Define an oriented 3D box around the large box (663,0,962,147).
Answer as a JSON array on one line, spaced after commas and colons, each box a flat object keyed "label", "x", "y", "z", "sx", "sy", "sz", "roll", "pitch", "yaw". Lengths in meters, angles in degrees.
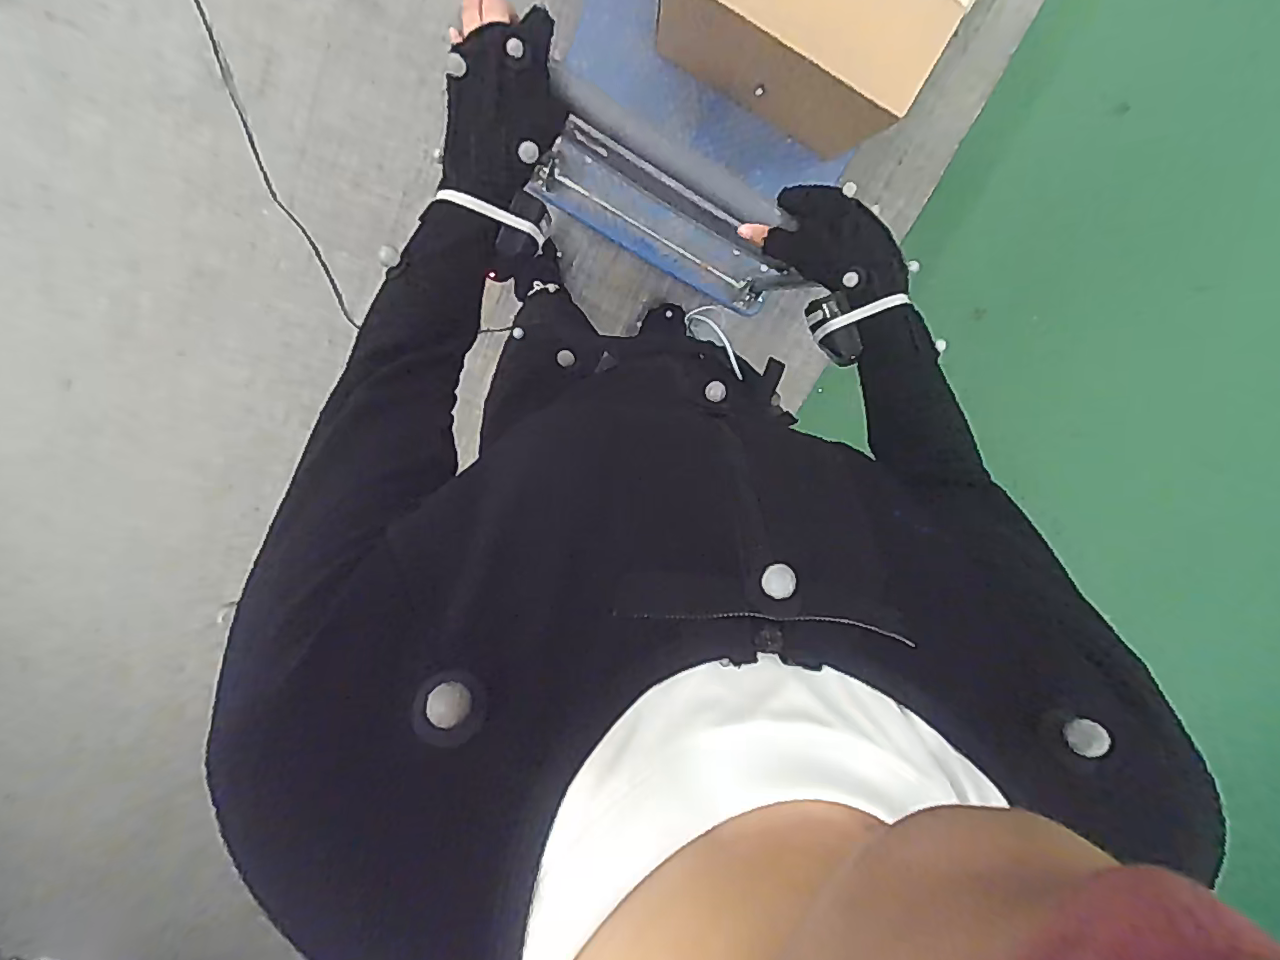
[{"label": "large box", "x": 0.283, "y": -0.814, "z": 0.875, "sx": 0.408, "sy": 0.320, "sz": 0.320, "roll": 24, "pitch": 109, "yaw": -8}]
